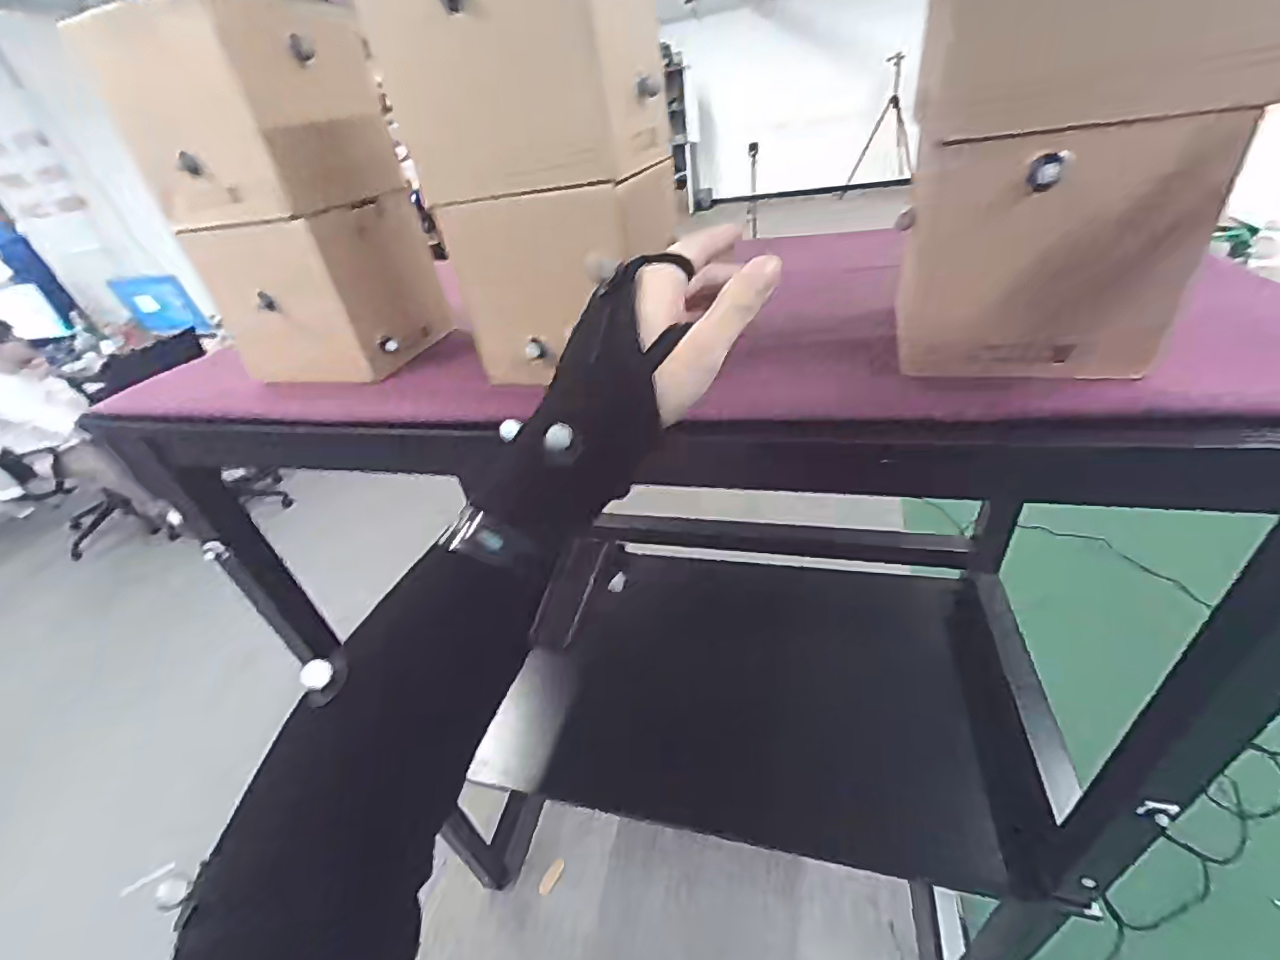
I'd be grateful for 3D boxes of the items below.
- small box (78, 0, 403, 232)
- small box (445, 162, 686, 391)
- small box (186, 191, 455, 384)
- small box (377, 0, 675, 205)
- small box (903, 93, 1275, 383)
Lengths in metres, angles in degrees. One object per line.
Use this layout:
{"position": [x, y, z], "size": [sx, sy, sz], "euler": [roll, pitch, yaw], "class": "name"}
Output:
{"position": [-0.371, -0.359, 0.547], "size": [0.168, 0.176, 0.179], "euler": [3, 36, 17], "class": "small box"}
{"position": [-0.054, -0.202, 0.538], "size": [0.168, 0.176, 0.179], "euler": [3, 37, 20], "class": "small box"}
{"position": [-0.348, -0.221, 0.630], "size": [0.179, 0.176, 0.168], "euler": [2, 36, 17], "class": "small box"}
{"position": [-0.081, -0.334, 0.443], "size": [0.179, 0.176, 0.168], "euler": [3, 36, 19], "class": "small box"}
{"position": [0.311, -0.191, 0.431], "size": [0.168, 0.176, 0.179], "euler": [4, 37, 21], "class": "small box"}
